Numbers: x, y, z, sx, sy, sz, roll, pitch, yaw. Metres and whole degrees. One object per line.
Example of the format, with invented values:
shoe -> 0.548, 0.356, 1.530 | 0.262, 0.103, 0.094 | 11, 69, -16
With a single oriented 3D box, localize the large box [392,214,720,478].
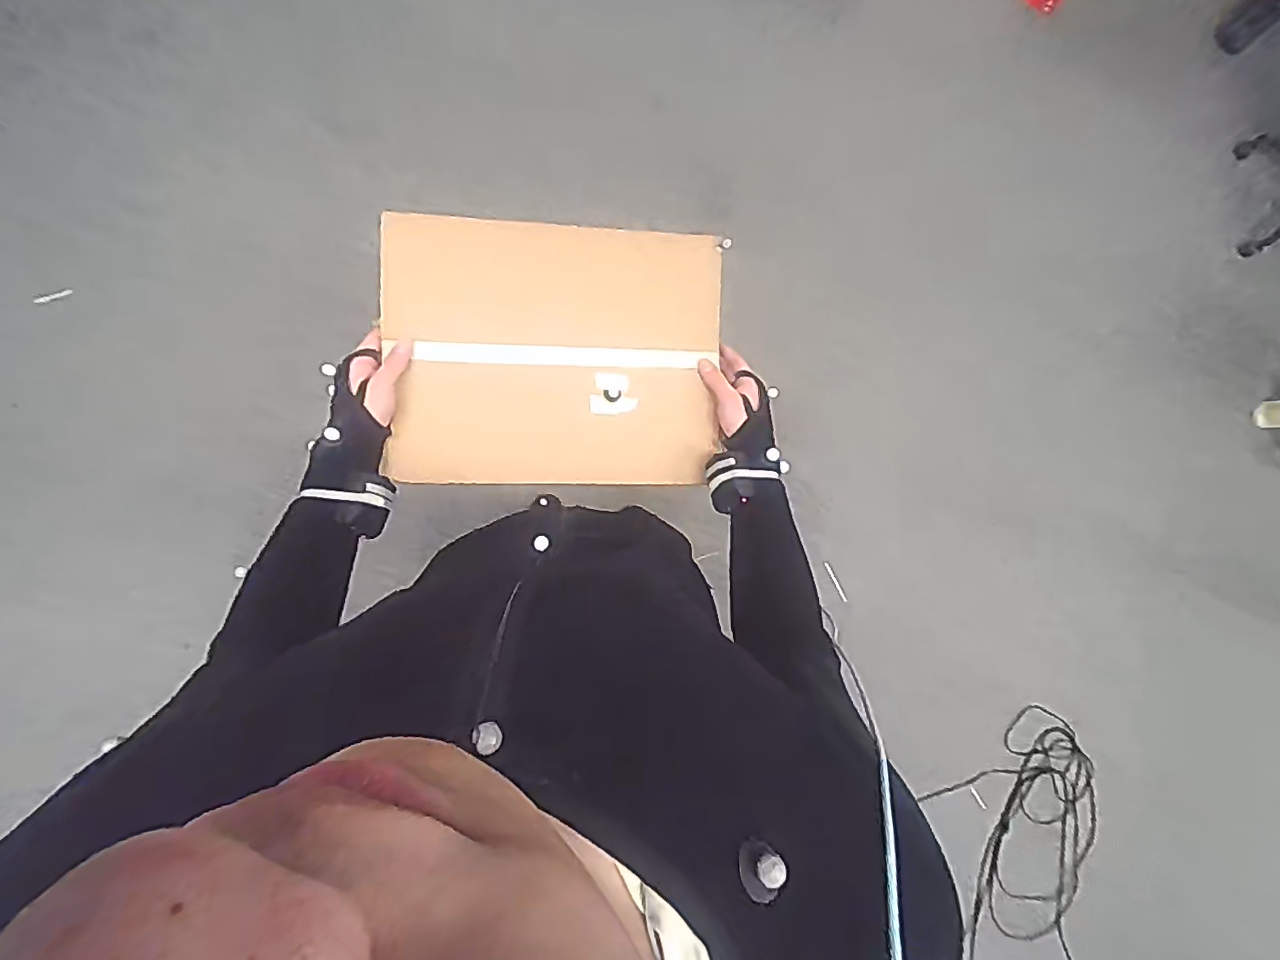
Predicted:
large box -> -0.119, -0.166, 0.813 | 0.408, 0.320, 0.320 | 0, 93, -9
